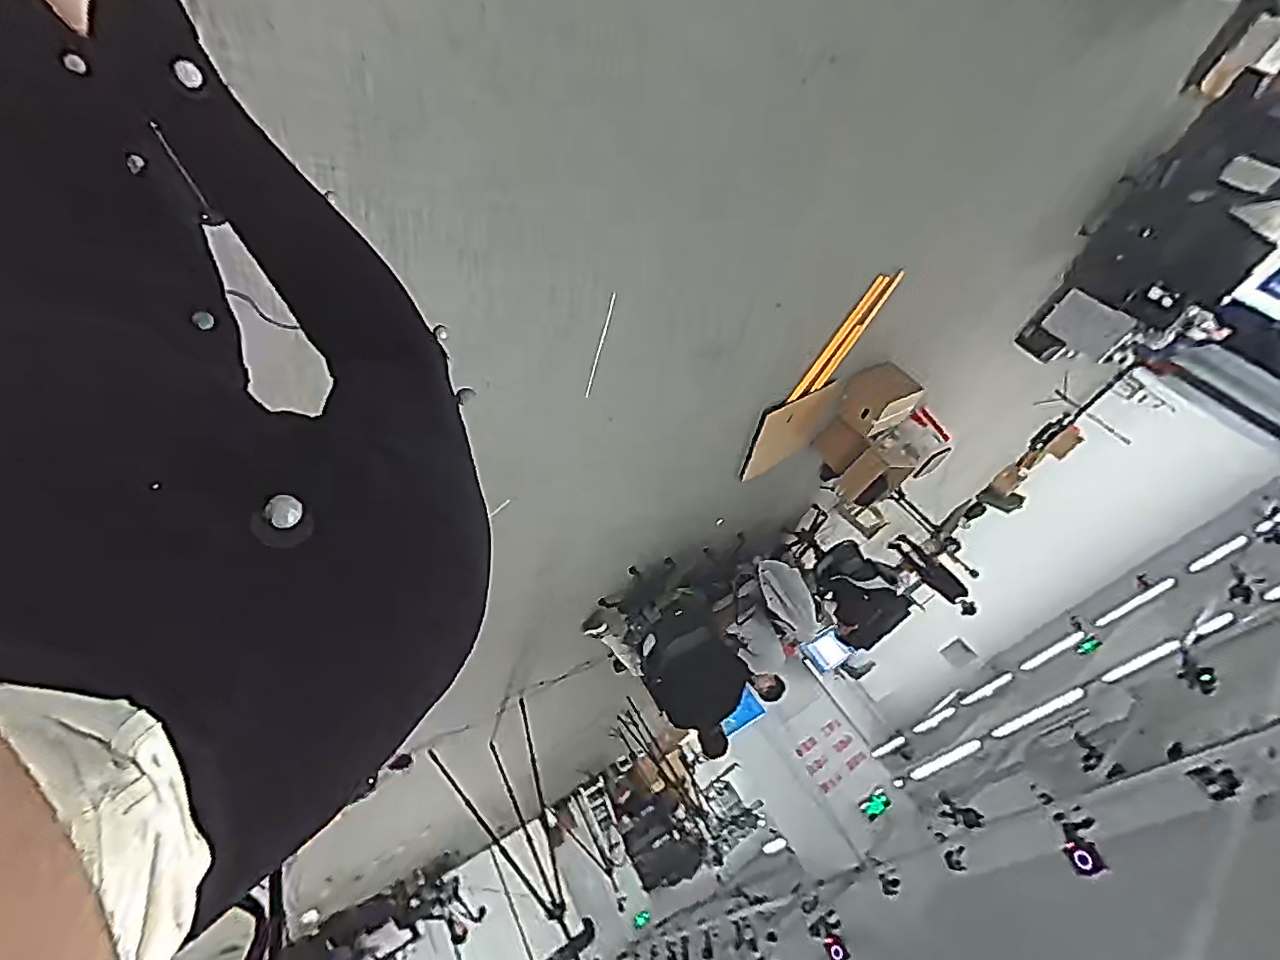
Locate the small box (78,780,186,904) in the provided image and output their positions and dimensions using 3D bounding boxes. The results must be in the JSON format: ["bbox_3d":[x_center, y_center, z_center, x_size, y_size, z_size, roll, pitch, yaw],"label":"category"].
[{"bbox_3d":[-1.238,0.878,1.321,0.179,0.176,0.168,-9,142,-41],"label":"small box"}]
